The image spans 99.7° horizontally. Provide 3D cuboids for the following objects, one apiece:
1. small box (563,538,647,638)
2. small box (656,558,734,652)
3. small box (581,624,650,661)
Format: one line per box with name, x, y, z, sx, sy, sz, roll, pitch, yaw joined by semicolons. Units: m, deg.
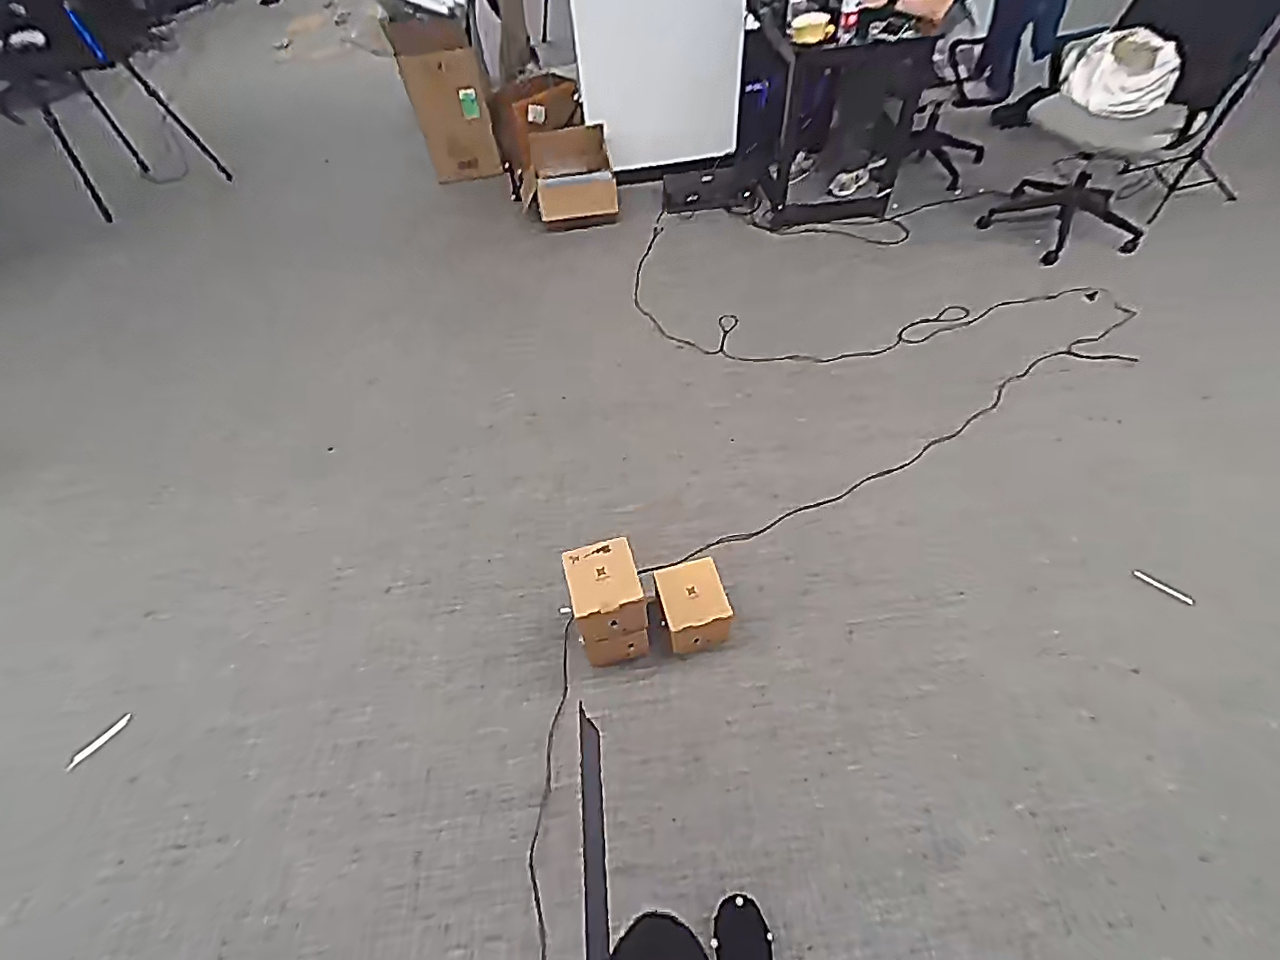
small box;-0.082;0.273;1.333;0.168;0.176;0.179;-14;54;-6
small box;0.144;0.341;1.466;0.168;0.176;0.179;-14;54;-5
small box;-0.070;0.376;1.461;0.168;0.176;0.179;-11;53;-3
